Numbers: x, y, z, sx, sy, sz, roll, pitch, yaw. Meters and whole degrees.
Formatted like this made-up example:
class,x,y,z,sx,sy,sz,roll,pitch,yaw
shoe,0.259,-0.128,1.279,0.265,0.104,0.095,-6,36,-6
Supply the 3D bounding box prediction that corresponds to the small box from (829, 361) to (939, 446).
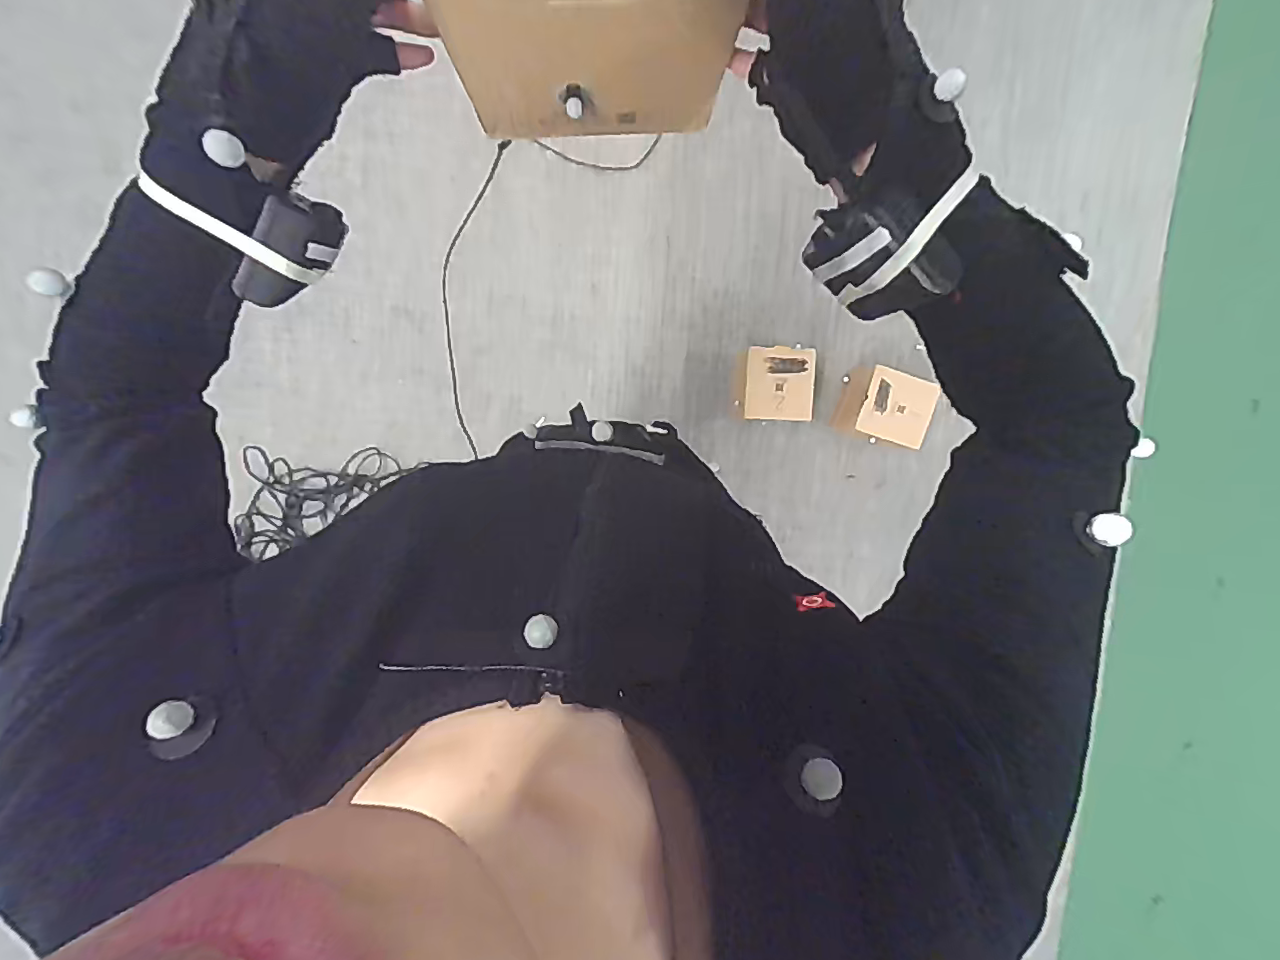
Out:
class,x,y,z,sx,sy,sz,roll,pitch,yaw
small box,0.615,-0.191,1.388,0.179,0.176,0.168,18,96,-4
